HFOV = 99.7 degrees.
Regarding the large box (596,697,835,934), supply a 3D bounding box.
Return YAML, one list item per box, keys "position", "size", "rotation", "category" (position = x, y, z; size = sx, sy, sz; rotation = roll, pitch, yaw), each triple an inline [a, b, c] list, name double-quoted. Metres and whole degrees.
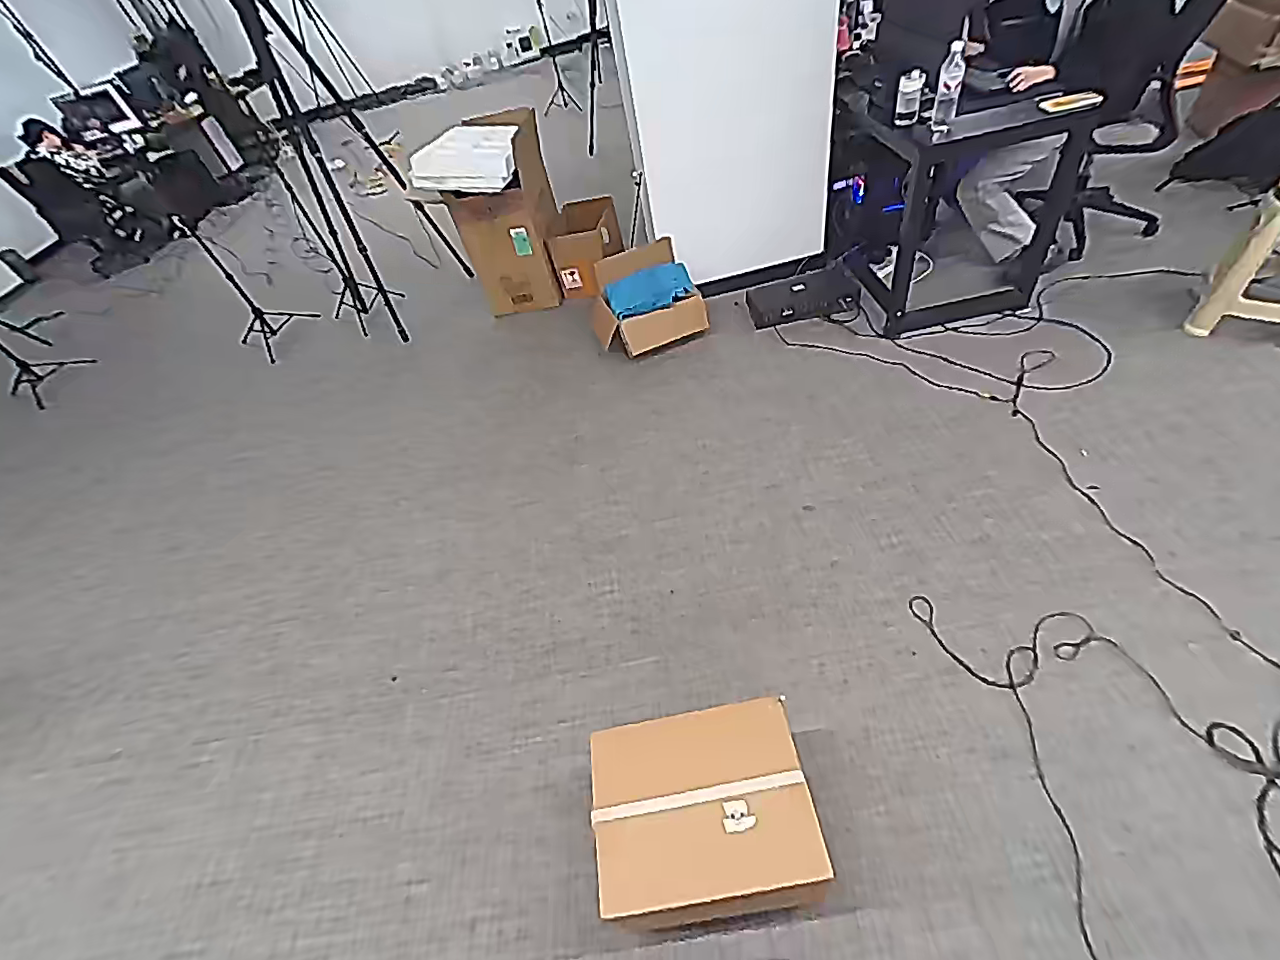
- position: [0.145, 0.701, 1.126]
  size: [0.408, 0.320, 0.320]
  rotation: [-12, 46, 3]
  category: "large box"
